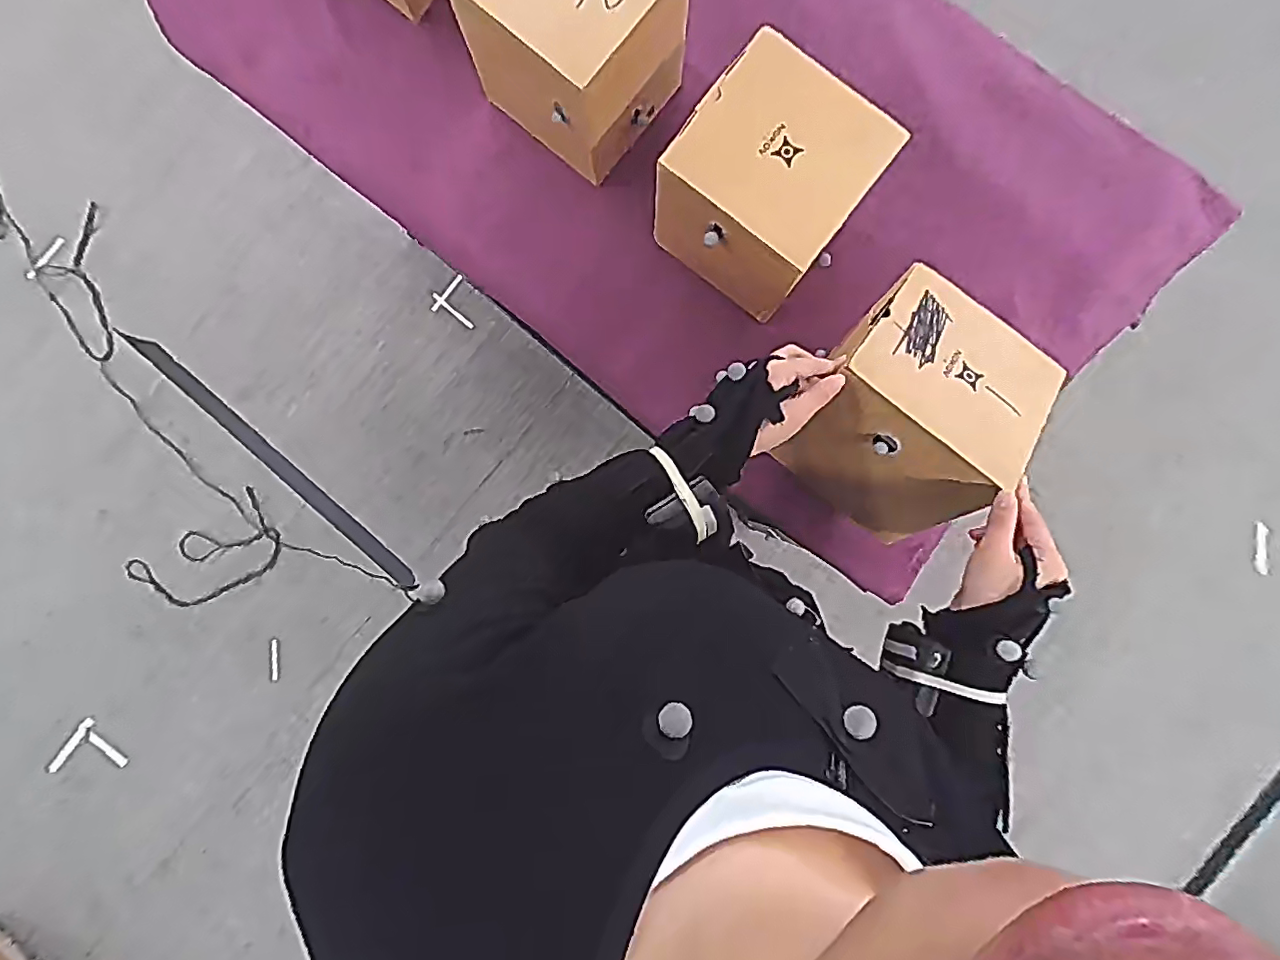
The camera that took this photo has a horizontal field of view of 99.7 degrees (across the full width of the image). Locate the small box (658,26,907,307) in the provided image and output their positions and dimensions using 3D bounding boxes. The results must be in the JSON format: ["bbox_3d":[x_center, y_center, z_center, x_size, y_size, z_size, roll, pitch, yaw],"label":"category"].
[{"bbox_3d":[0.136,-0.312,0.587,0.179,0.176,0.168,38,90,1],"label":"small box"}]

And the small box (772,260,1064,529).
[{"bbox_3d":[0.266,-0.074,0.550,0.179,0.176,0.168,39,66,2],"label":"small box"}]
